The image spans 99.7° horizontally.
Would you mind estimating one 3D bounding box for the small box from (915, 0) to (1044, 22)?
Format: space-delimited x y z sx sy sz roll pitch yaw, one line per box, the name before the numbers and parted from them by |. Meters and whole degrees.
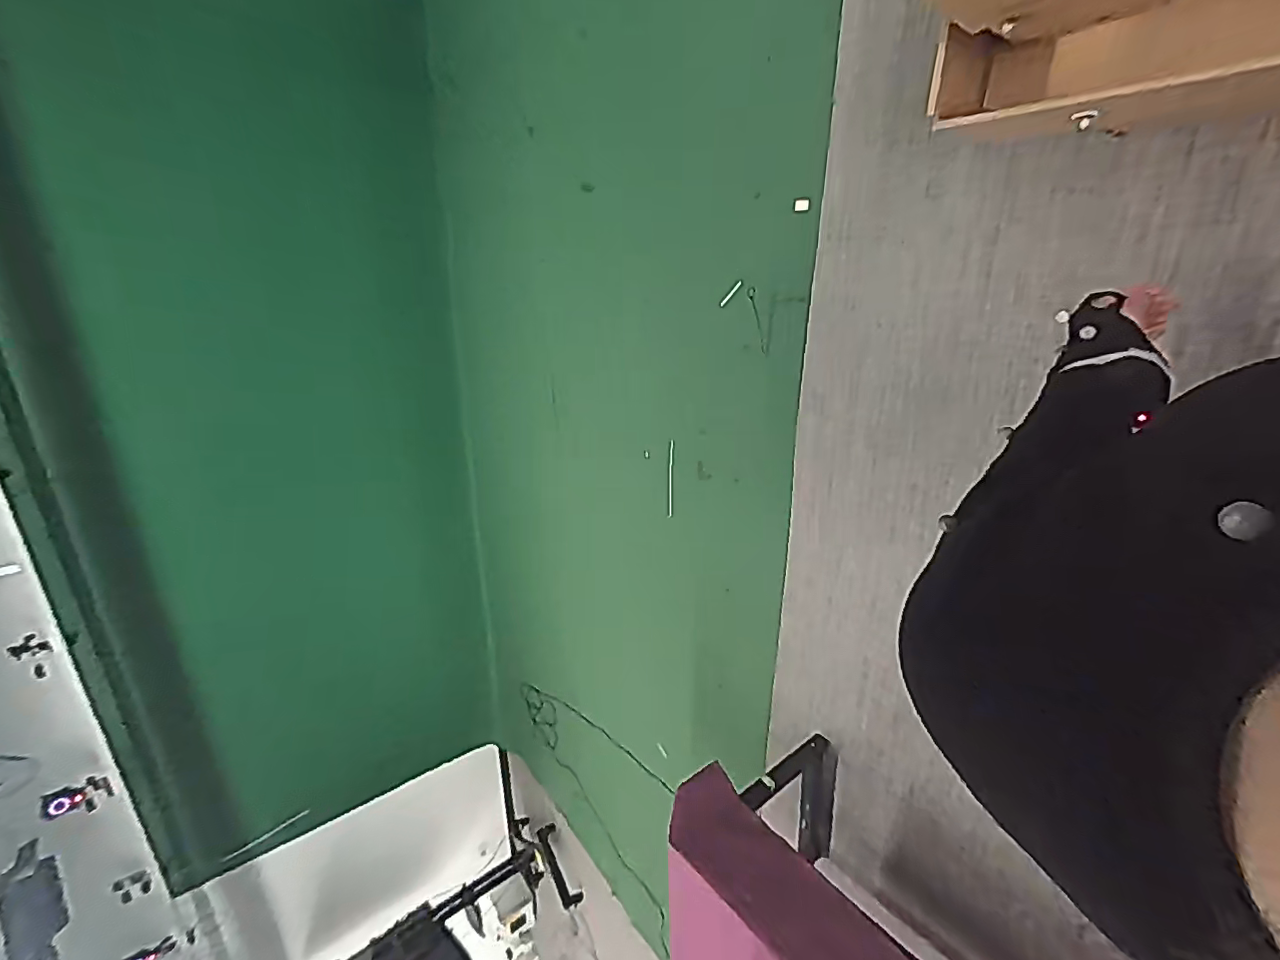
small box | 0.421 -0.635 0.581 0.168 0.176 0.179 19 117 49
